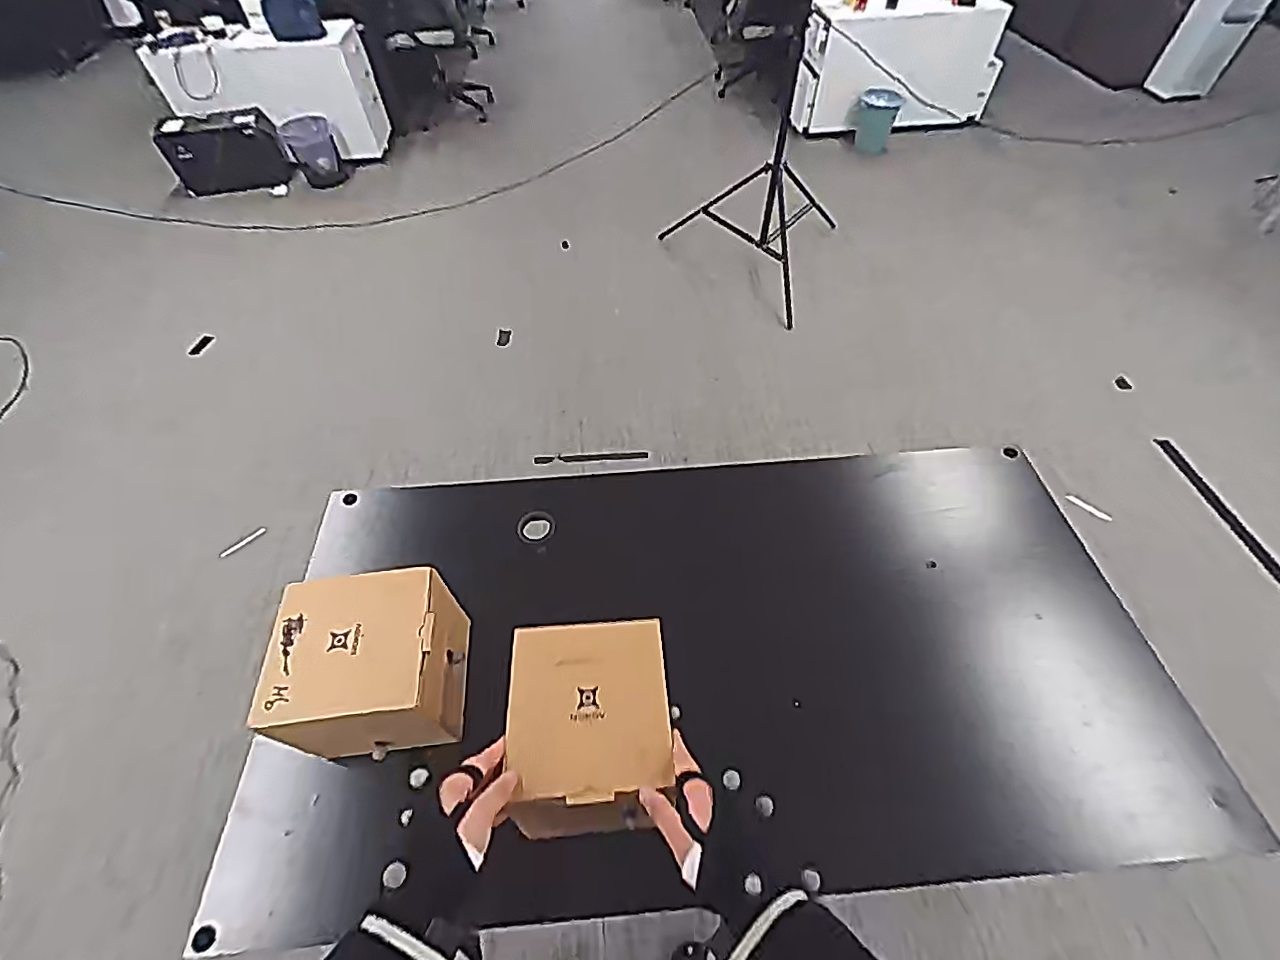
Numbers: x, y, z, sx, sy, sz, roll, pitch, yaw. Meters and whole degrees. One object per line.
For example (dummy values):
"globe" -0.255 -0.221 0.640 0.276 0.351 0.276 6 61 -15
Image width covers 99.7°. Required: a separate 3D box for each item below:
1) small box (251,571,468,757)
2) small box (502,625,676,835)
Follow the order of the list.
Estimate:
"small box" -0.321 0.230 0.668 0.179 0.176 0.168 -5 53 -4
"small box" -0.053 0.287 0.614 0.168 0.176 0.179 -3 47 -4
